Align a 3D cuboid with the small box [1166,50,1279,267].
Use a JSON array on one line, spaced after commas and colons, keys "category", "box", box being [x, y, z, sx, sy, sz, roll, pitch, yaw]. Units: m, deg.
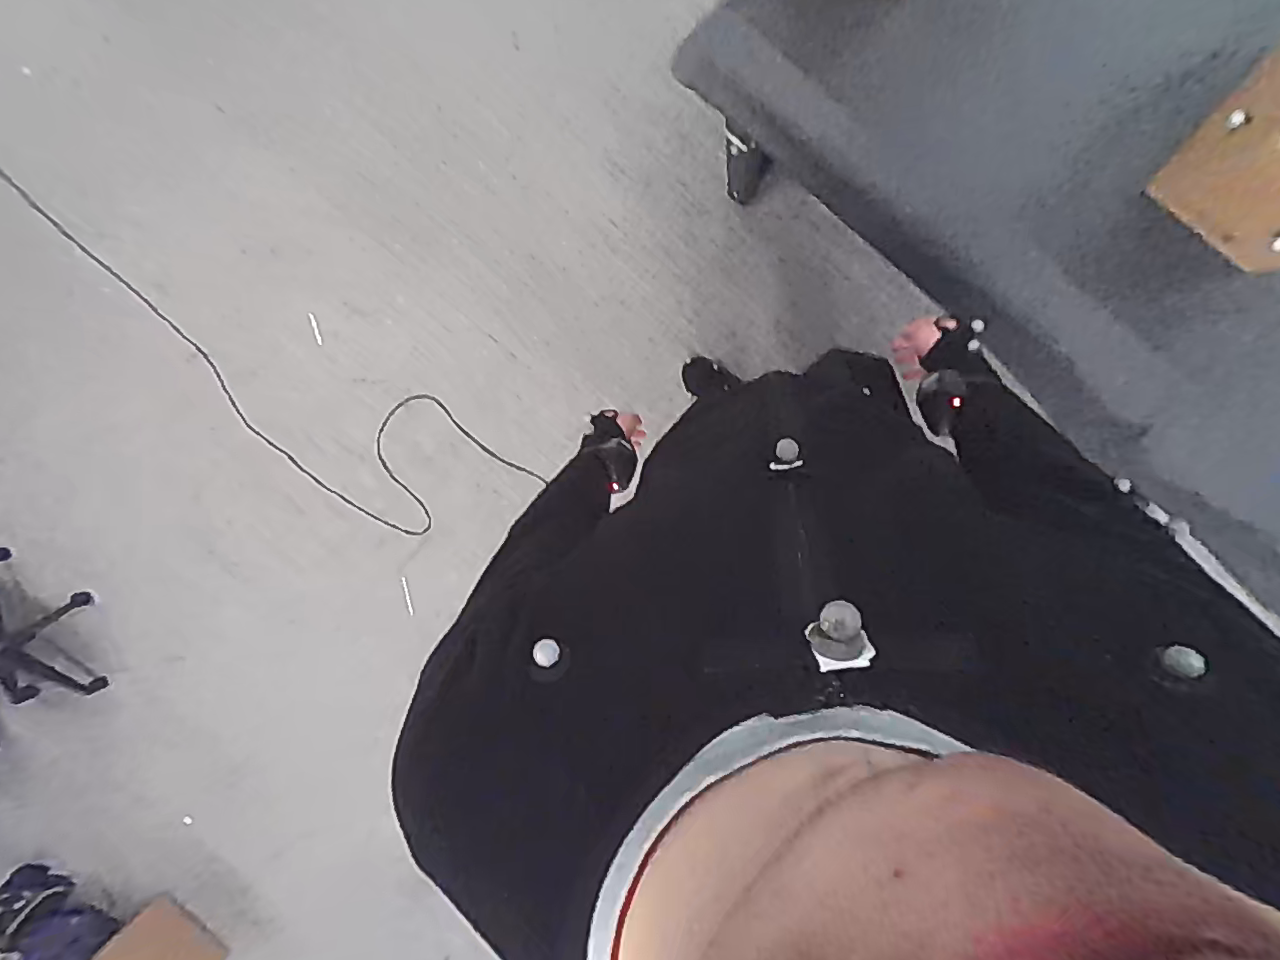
[{"category": "small box", "box": [0.696, -0.338, 0.538, 0.168, 0.176, 0.179, 37, 106, -3]}]
